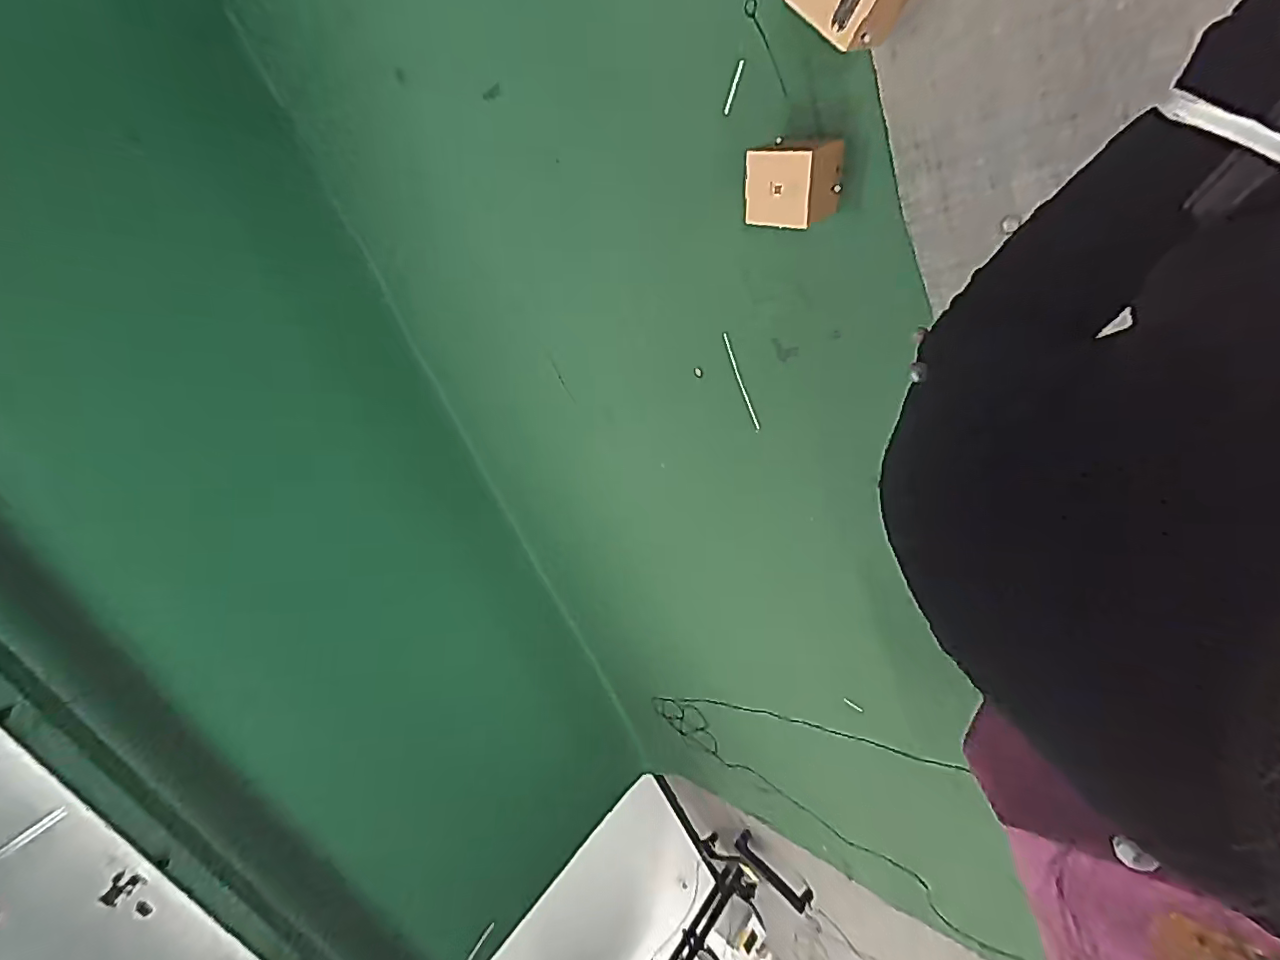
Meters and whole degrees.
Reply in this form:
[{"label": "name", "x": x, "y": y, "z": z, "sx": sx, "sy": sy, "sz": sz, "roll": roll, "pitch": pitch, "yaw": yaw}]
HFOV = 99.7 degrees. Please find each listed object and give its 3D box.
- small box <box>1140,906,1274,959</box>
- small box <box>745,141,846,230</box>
[{"label": "small box", "x": 0.920, "y": 0.853, "z": 0.869, "sx": 0.168, "sy": 0.176, "sz": 0.179, "roll": 2, "pitch": 122, "yaw": 48}, {"label": "small box", "x": 0.385, "y": -0.739, "z": 1.351, "sx": 0.179, "sy": 0.176, "sz": 0.168, "roll": 25, "pitch": 138, "yaw": 34}]
